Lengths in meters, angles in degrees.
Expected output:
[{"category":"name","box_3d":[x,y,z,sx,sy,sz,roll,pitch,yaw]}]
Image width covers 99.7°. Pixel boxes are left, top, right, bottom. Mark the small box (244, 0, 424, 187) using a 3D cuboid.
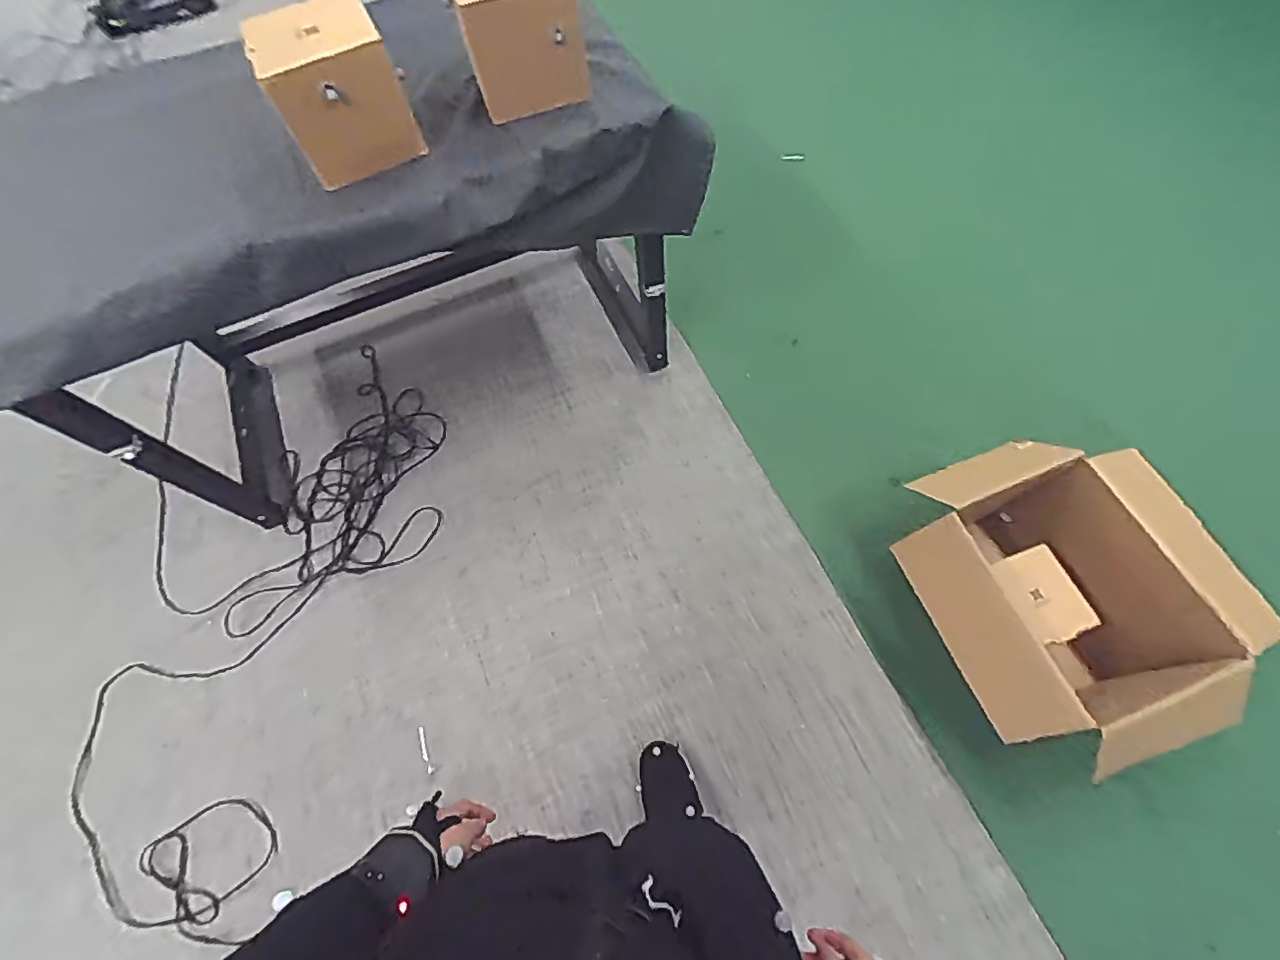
[{"category":"small box","box_3d":[-0.457,-0.599,0.836,0.179,0.176,0.168,-26,67,-7]}]
